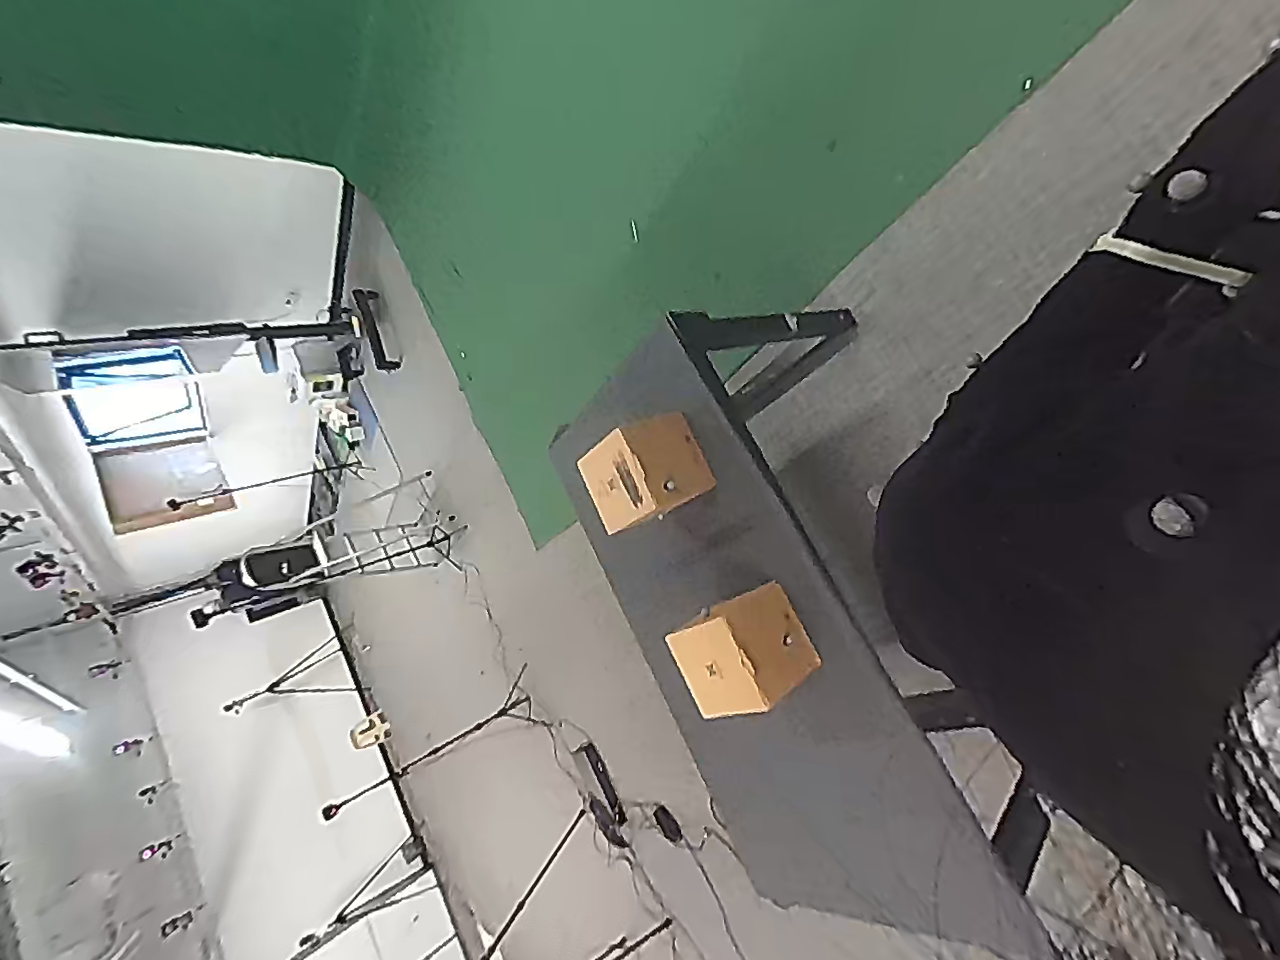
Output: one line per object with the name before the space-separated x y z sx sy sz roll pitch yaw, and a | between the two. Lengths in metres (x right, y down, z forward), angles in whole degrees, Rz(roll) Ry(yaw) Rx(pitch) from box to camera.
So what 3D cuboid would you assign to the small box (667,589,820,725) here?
small box | 0.188 0.320 0.984 0.179 0.176 0.168 -39 74 47
